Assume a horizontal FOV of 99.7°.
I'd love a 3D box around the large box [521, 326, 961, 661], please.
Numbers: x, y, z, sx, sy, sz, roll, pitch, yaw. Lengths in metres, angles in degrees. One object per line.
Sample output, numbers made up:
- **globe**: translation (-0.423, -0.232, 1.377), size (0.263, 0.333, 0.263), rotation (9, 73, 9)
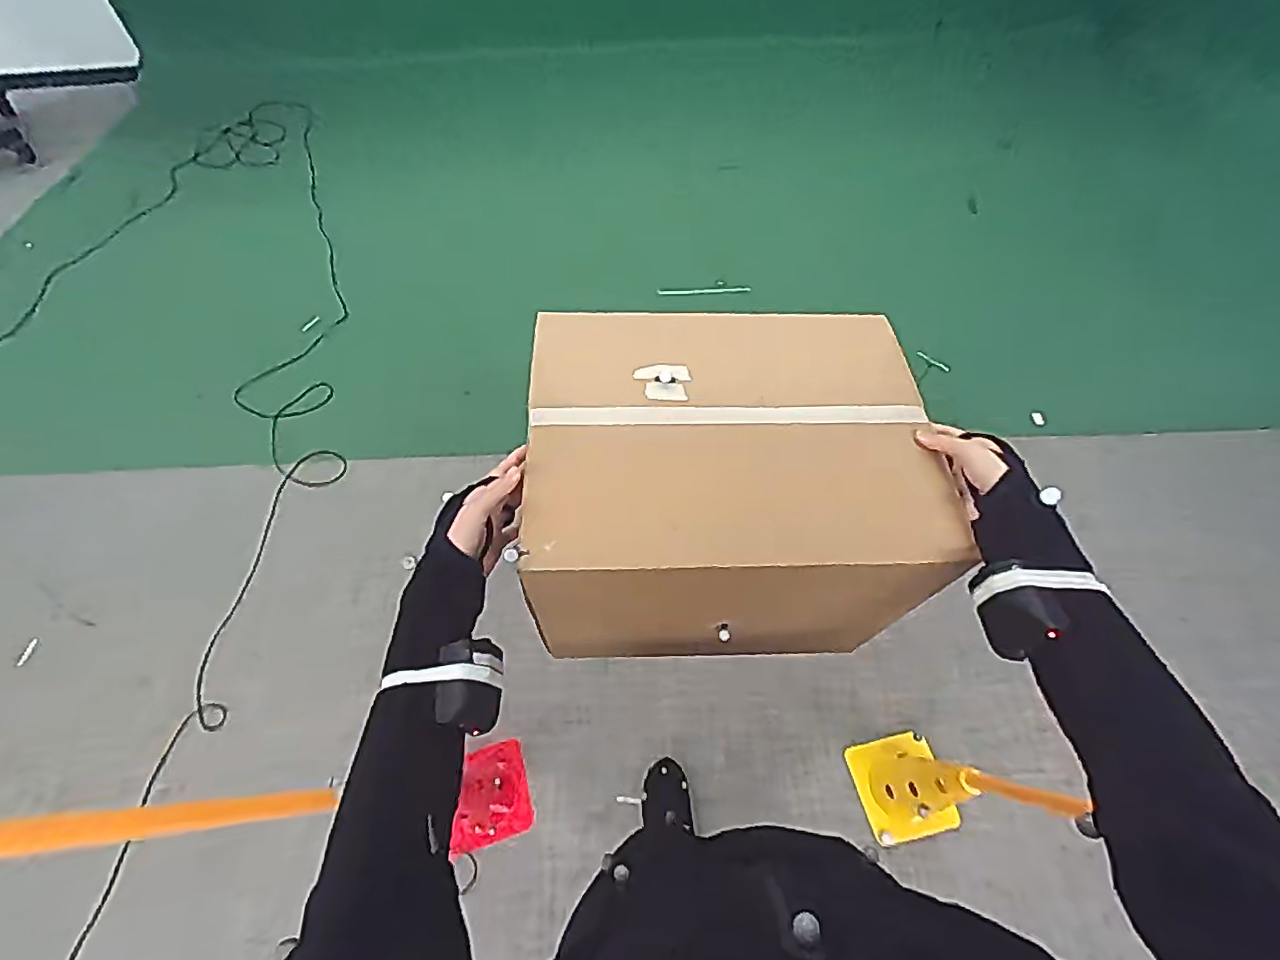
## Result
- **large box**: translation (0.085, 0.032, 0.680), size (0.408, 0.320, 0.320), rotation (-1, 58, -2)
